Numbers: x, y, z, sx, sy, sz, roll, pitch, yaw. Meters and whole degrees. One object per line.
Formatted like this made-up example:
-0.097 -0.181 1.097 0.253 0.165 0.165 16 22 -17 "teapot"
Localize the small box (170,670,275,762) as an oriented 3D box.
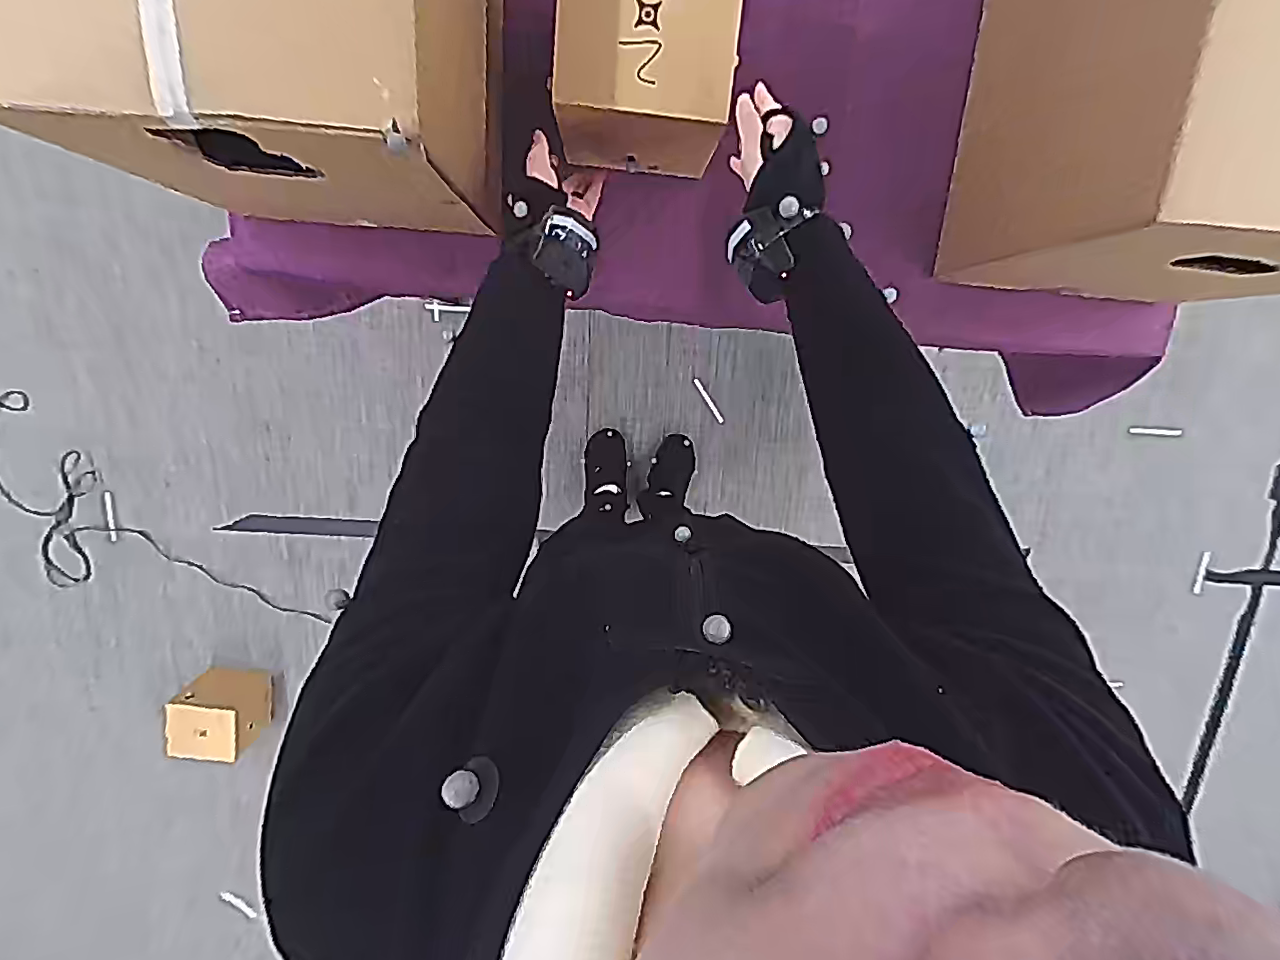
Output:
-1.154 0.652 1.509 0.179 0.176 0.168 9 103 -4 "small box"
